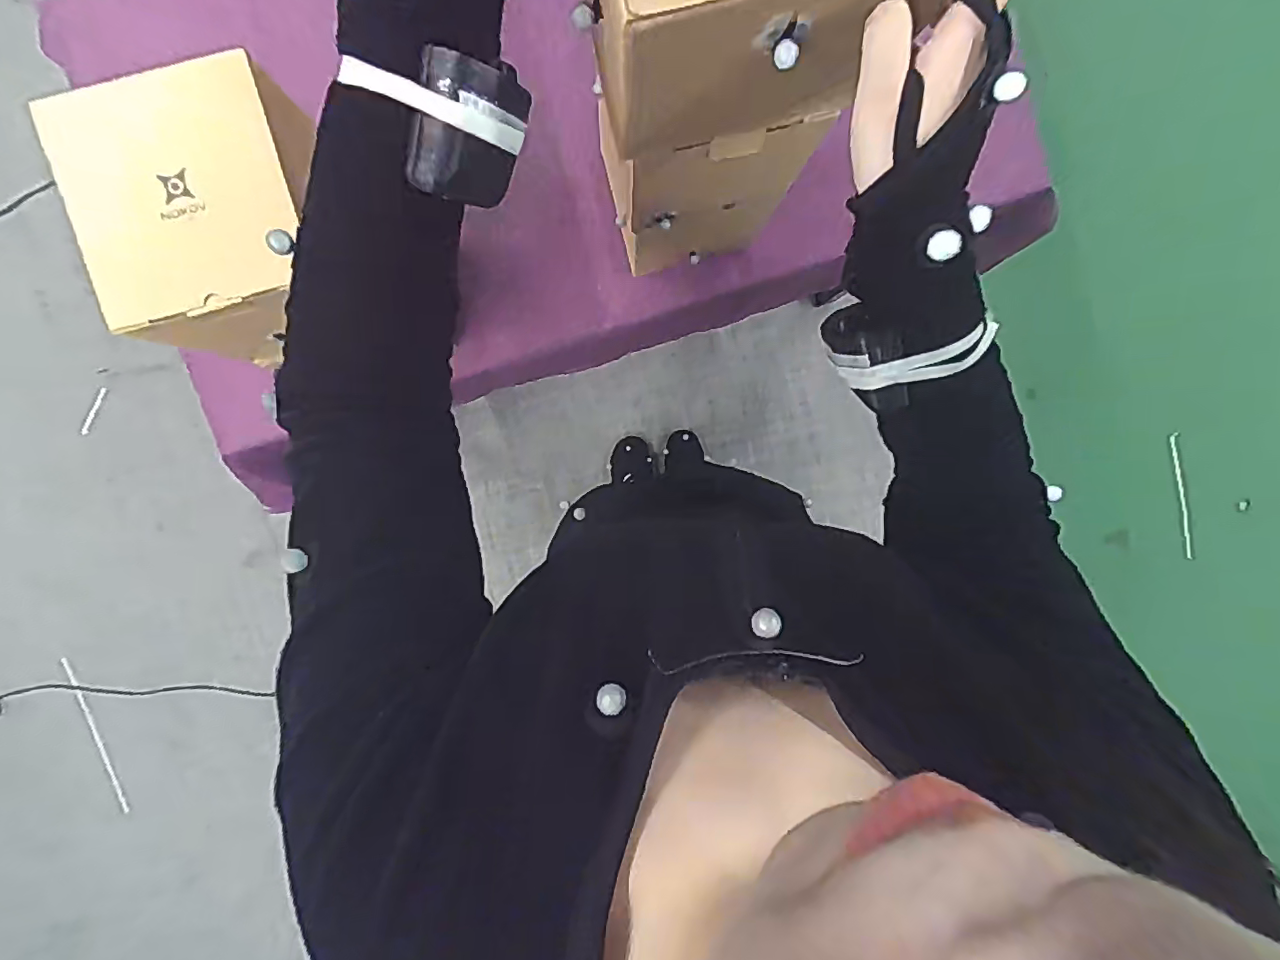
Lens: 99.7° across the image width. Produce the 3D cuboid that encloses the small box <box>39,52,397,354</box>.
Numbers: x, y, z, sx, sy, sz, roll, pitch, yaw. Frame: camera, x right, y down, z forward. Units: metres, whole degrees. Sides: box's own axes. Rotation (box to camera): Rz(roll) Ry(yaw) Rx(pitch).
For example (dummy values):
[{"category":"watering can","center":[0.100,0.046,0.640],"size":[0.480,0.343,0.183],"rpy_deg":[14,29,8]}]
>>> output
[{"category":"small box","center":[-0.354,-0.228,0.494],"size":[0.168,0.176,0.179],"rpy_deg":[-15,97,0]}]

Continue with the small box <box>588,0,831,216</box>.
[{"category":"small box","center":[0.051,-0.360,0.486],"size":[0.168,0.176,0.179],"rpy_deg":[-13,95,0]}]
